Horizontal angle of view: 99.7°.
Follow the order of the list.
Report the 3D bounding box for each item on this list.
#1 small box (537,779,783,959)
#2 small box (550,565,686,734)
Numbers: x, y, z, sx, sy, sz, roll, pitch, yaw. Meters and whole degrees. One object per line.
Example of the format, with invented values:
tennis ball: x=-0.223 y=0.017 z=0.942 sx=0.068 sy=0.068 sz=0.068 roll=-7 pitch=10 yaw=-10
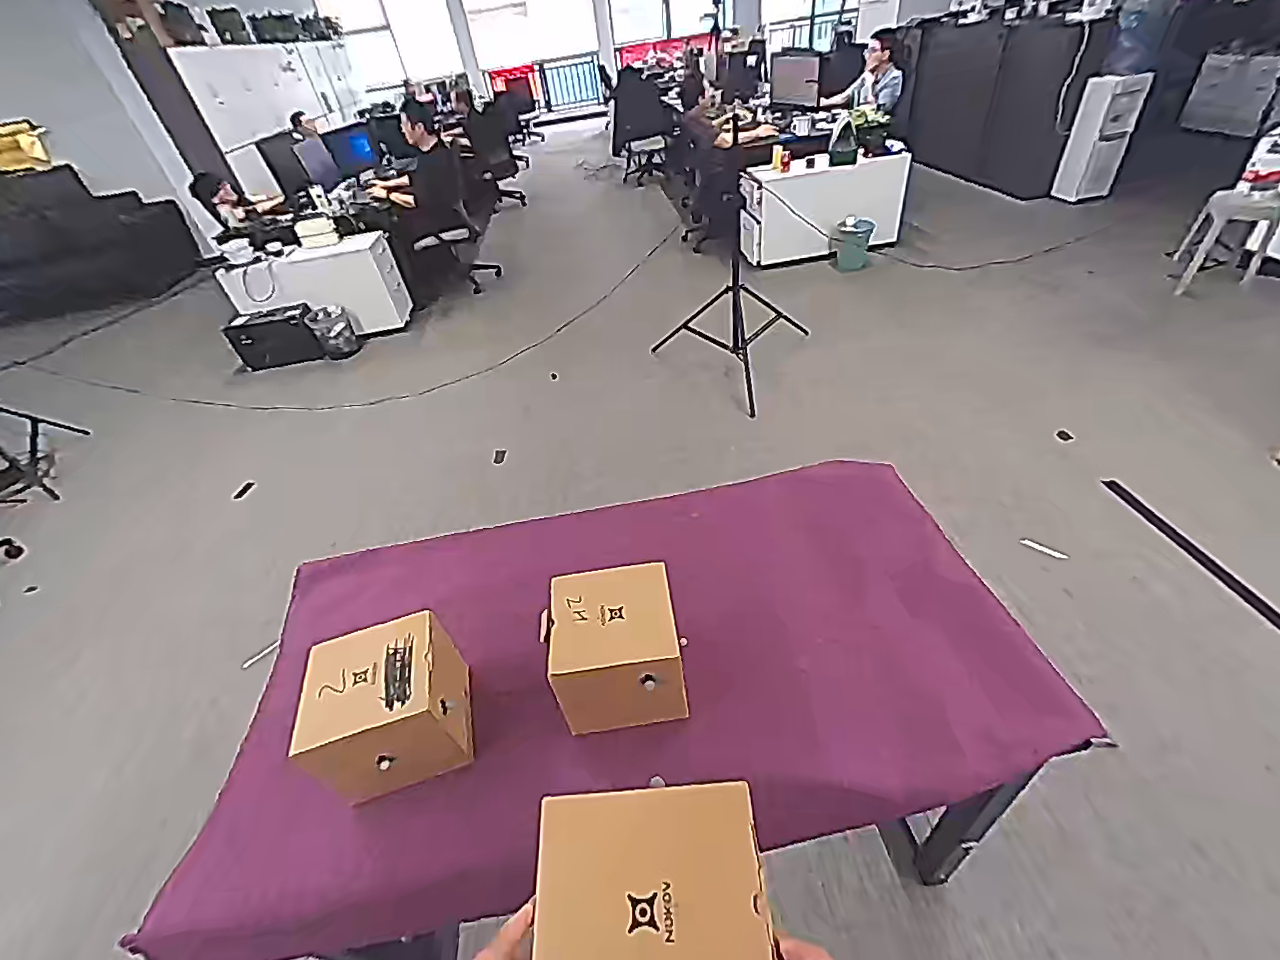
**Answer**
small box: x=0.021 y=0.372 z=0.456 sx=0.179 sy=0.176 sz=0.168 roll=-7 pitch=46 yaw=2
small box: x=-0.028 y=0.253 z=0.807 sx=0.179 sy=0.176 sz=0.168 roll=-10 pitch=39 yaw=1
